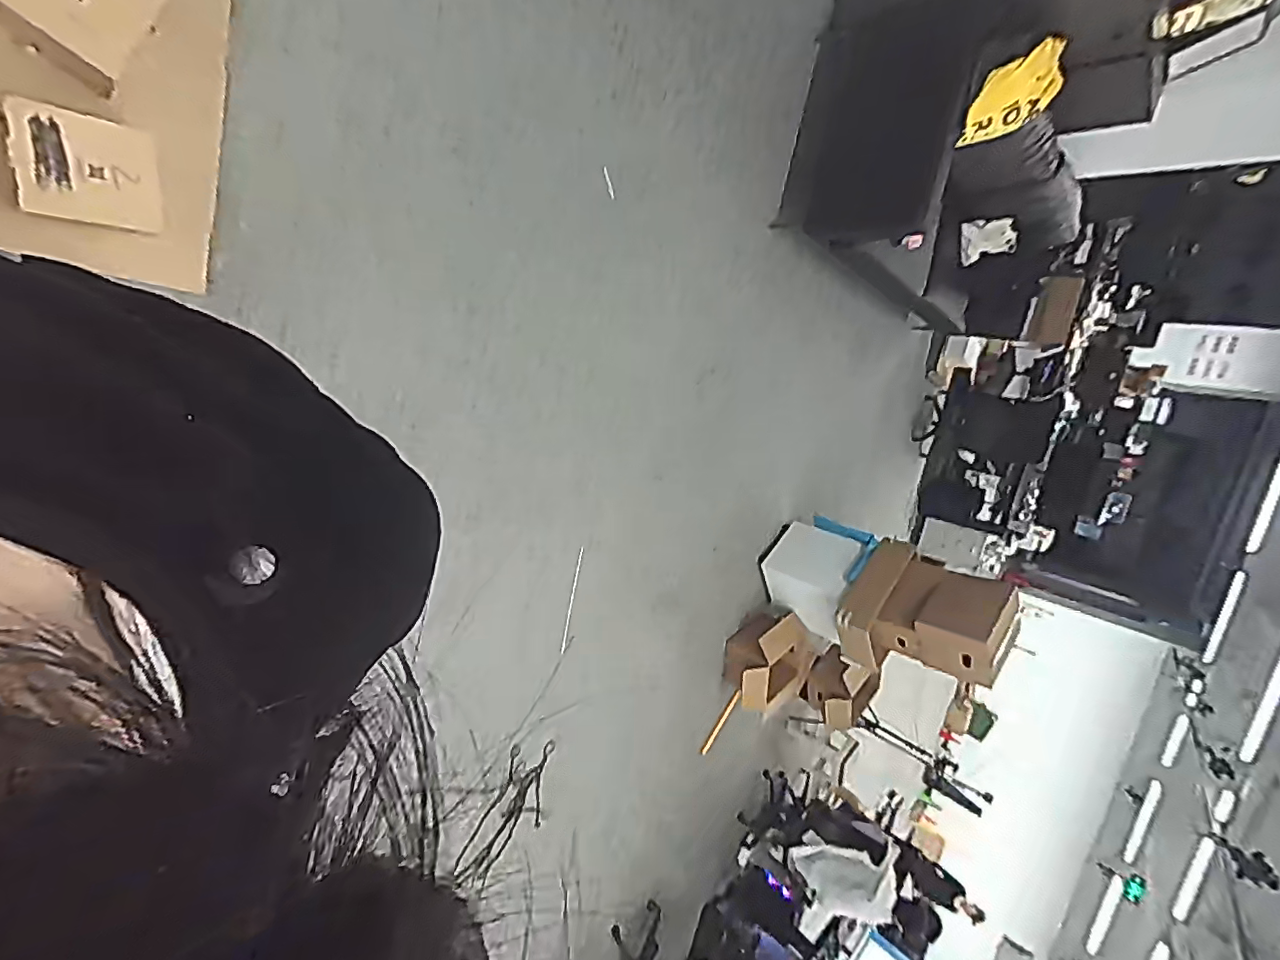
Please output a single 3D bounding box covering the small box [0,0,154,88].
[{"bbox_3d":[-0.930,-0.784,0.871,0.168,0.176,0.179,32,80,-49],"label":"small box"}]
